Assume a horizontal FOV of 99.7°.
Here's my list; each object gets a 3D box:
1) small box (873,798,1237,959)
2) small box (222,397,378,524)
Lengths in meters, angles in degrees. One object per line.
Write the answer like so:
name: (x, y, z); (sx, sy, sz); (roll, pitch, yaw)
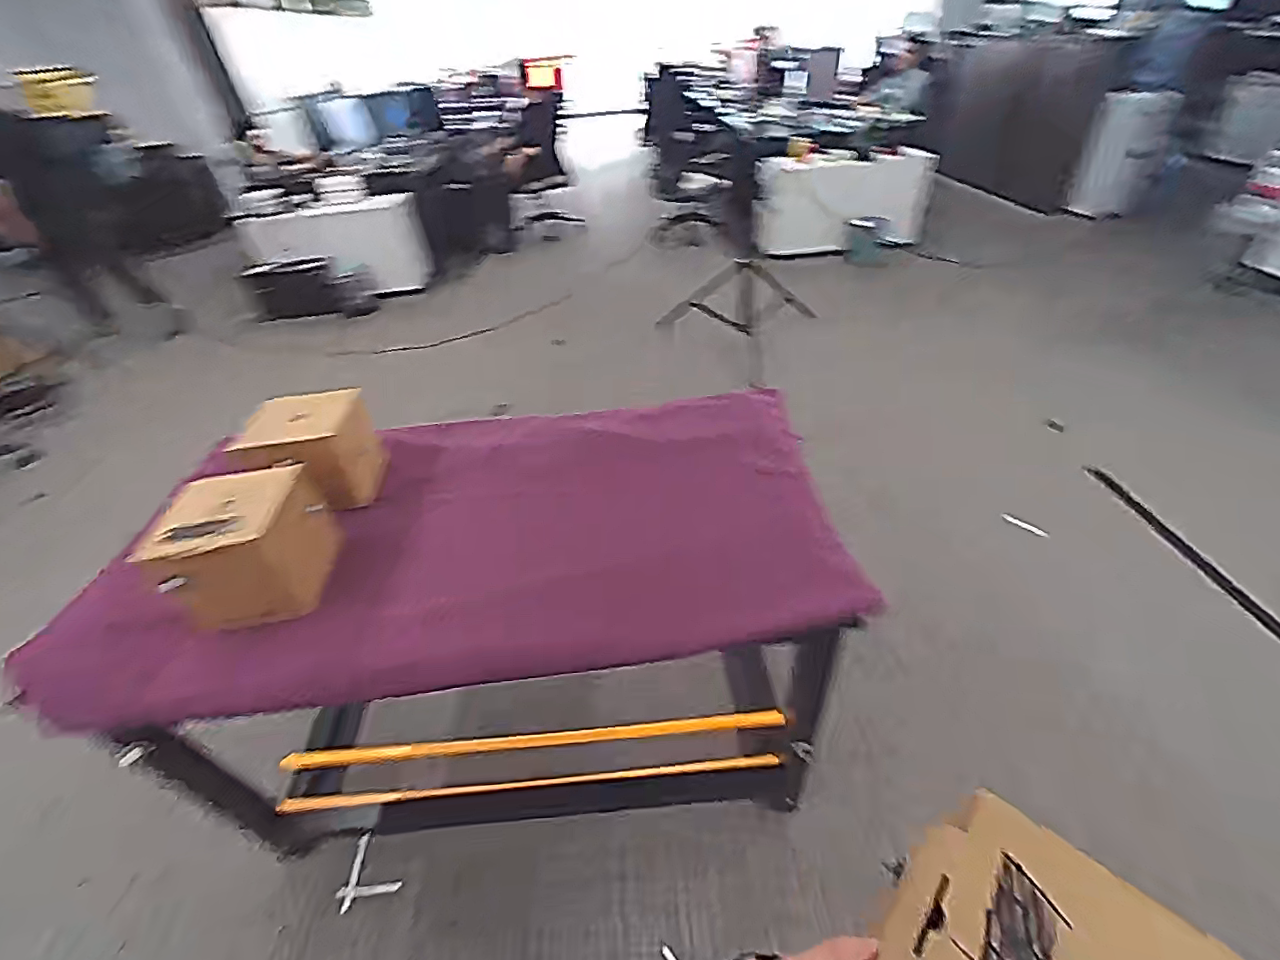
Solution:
small box: (0.237, 0.338, 0.315); (0.179, 0.176, 0.168); (30, 56, 30)
small box: (-0.627, -0.037, 1.030); (0.179, 0.176, 0.168); (-8, 39, -4)
